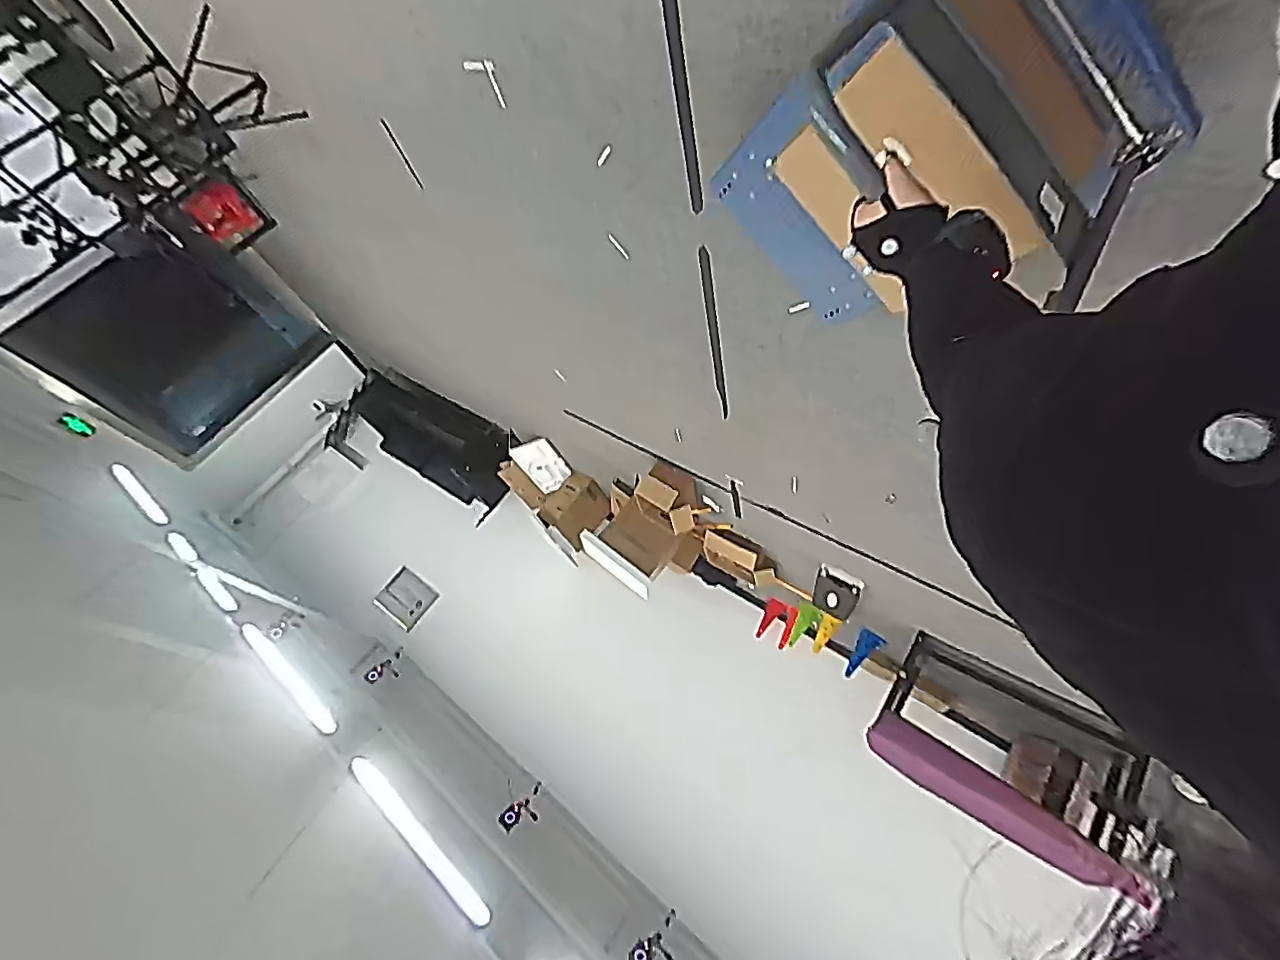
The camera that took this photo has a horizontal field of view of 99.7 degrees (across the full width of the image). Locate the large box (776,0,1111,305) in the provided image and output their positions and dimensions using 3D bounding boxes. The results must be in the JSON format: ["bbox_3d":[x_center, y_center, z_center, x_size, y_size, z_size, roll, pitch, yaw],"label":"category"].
[{"bbox_3d":[0.548,-0.618,0.997,0.408,0.320,0.320,43,160,-13],"label":"large box"}]
